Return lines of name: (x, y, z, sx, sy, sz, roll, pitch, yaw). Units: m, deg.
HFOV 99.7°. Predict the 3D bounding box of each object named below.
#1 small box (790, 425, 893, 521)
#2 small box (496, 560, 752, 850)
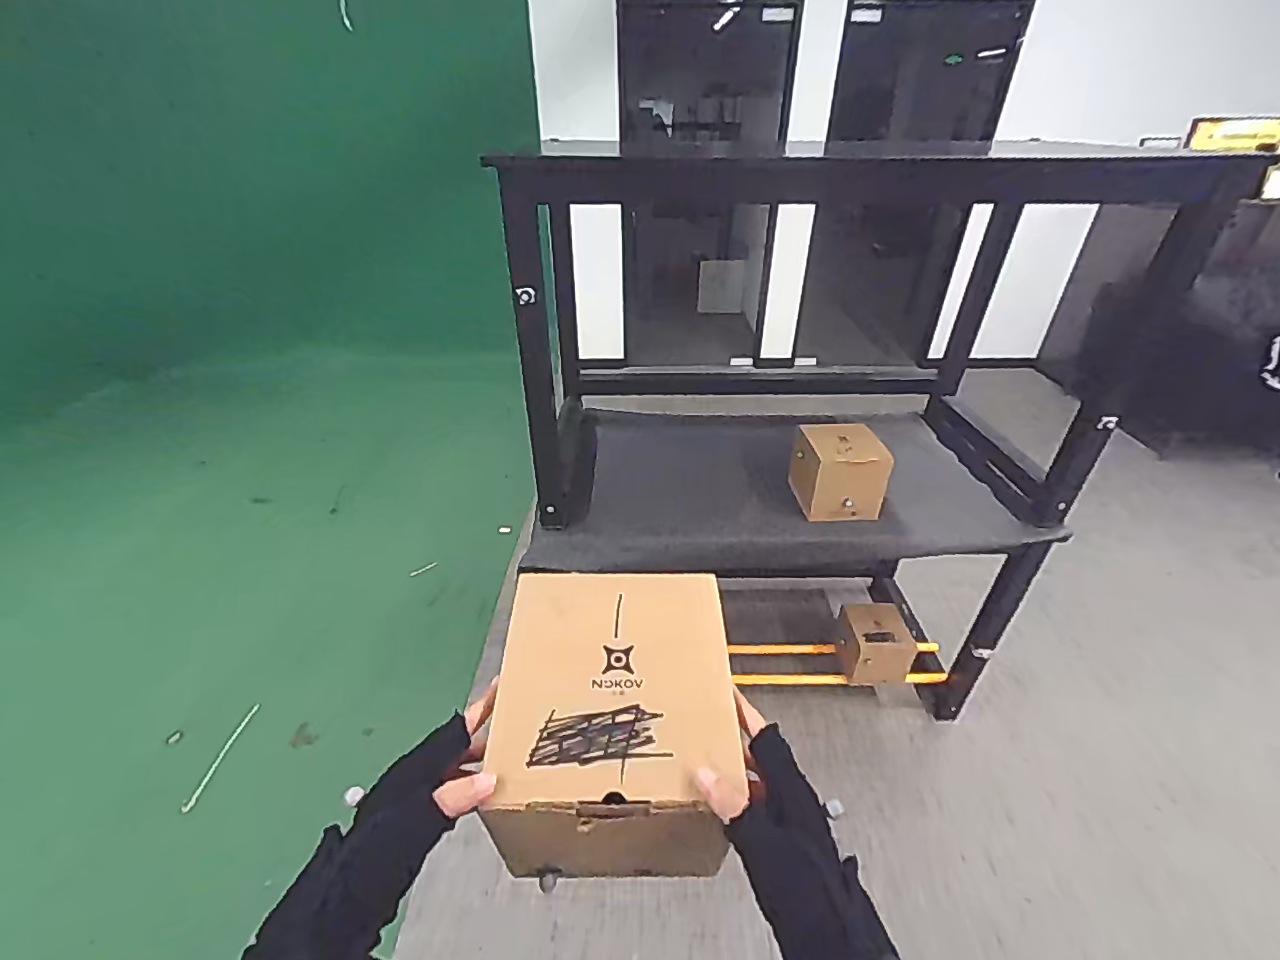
small box: (0.470, -0.019, 1.294, 0.168, 0.176, 0.179, -2, 33, -2)
small box: (-0.011, 0.187, 0.451, 0.168, 0.176, 0.179, 1, 41, -2)
